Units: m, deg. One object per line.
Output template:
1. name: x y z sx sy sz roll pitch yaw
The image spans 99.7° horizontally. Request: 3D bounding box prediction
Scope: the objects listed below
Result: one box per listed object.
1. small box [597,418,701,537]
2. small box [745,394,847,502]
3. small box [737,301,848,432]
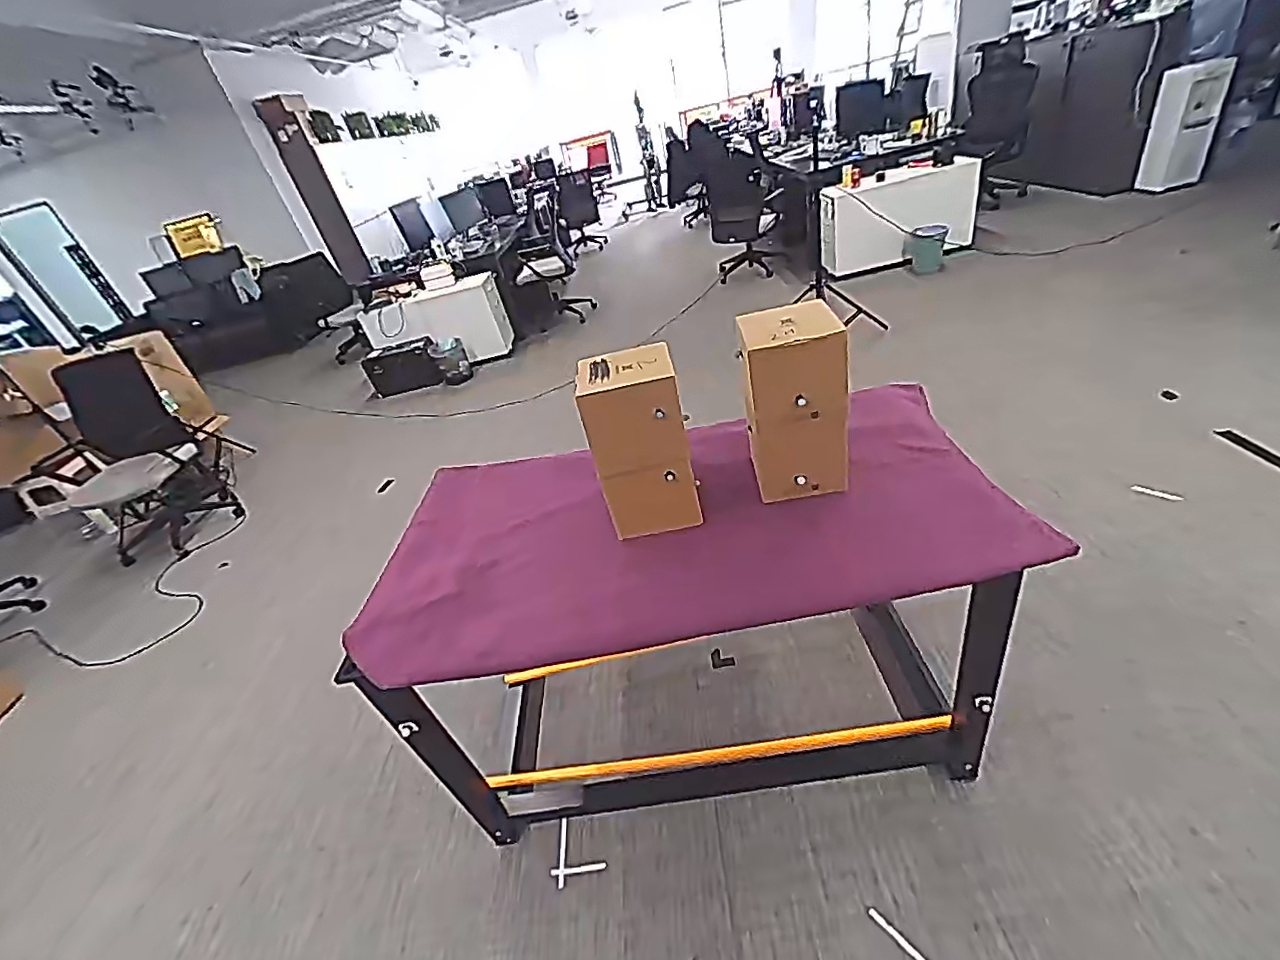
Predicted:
1. small box: 0.020 -0.003 1.109 0.179 0.176 0.168 -11 34 5
2. small box: 0.313 -0.079 1.100 0.168 0.176 0.179 -10 35 9
3. small box: 0.280 -0.211 1.007 0.168 0.176 0.179 -10 34 9
